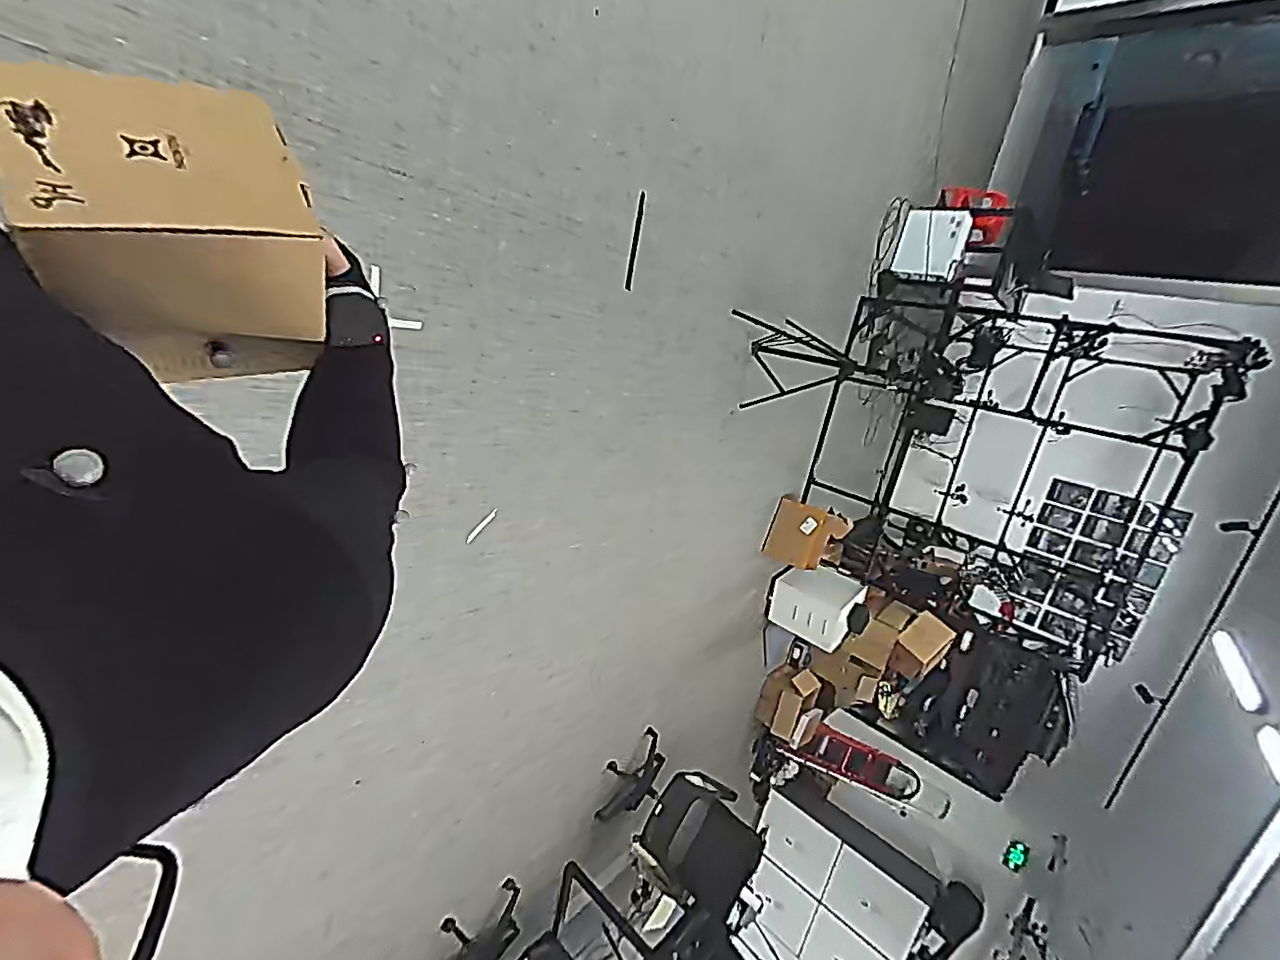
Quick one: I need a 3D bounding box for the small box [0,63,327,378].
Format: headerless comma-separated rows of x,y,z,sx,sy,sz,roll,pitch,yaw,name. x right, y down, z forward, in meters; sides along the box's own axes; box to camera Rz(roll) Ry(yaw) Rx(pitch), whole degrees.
-0.399,-0.210,0.479,0.179,0.168,0.176,-16,160,-37,small box
